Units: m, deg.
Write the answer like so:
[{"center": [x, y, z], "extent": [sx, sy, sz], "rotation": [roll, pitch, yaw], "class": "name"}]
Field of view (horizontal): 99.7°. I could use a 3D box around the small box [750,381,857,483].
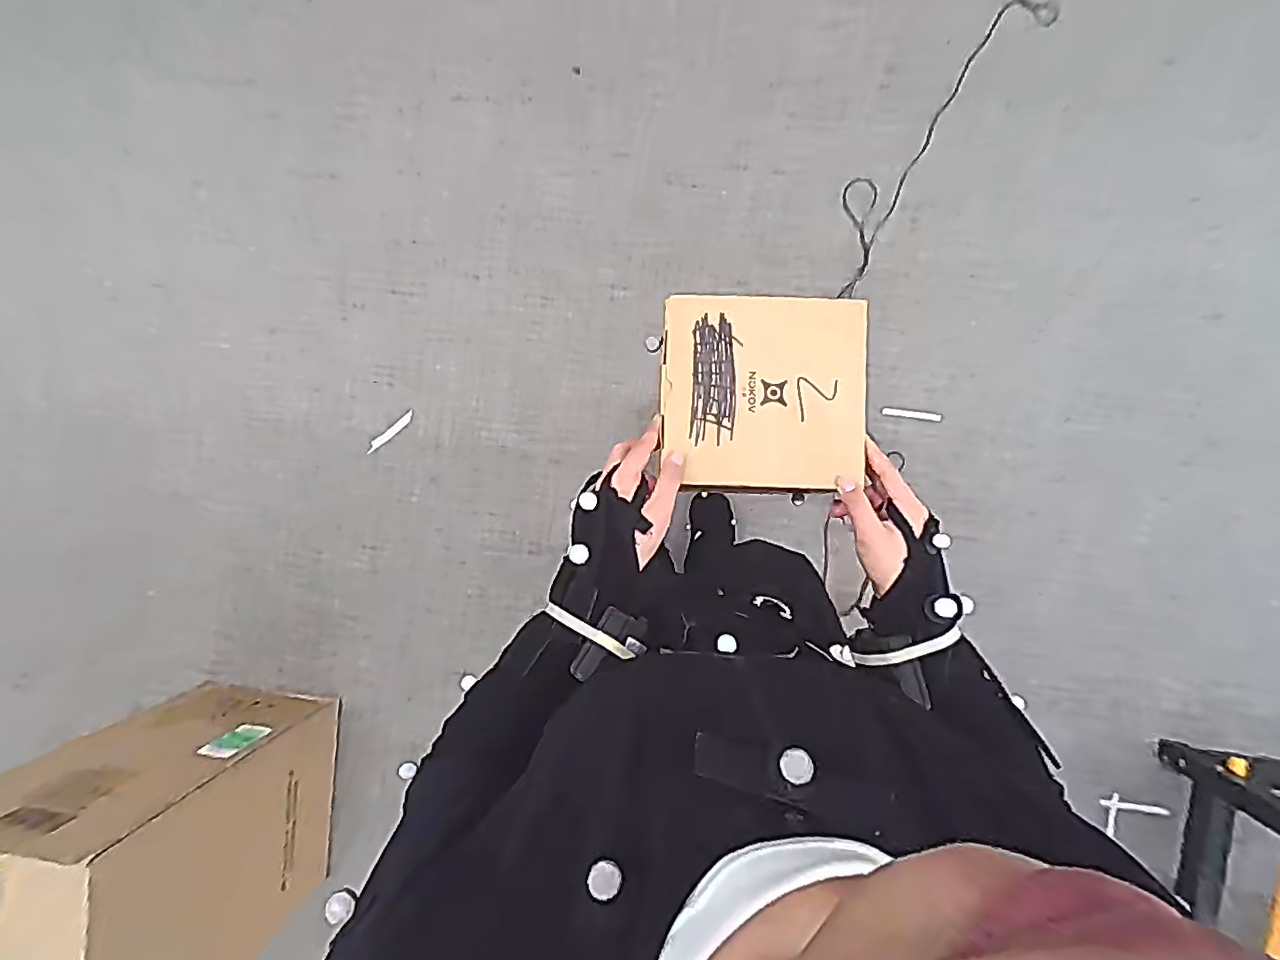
[{"center": [0.318, -0.092, 1.085], "extent": [0.168, 0.176, 0.179], "rotation": [8, 92, 5], "class": "small box"}]
